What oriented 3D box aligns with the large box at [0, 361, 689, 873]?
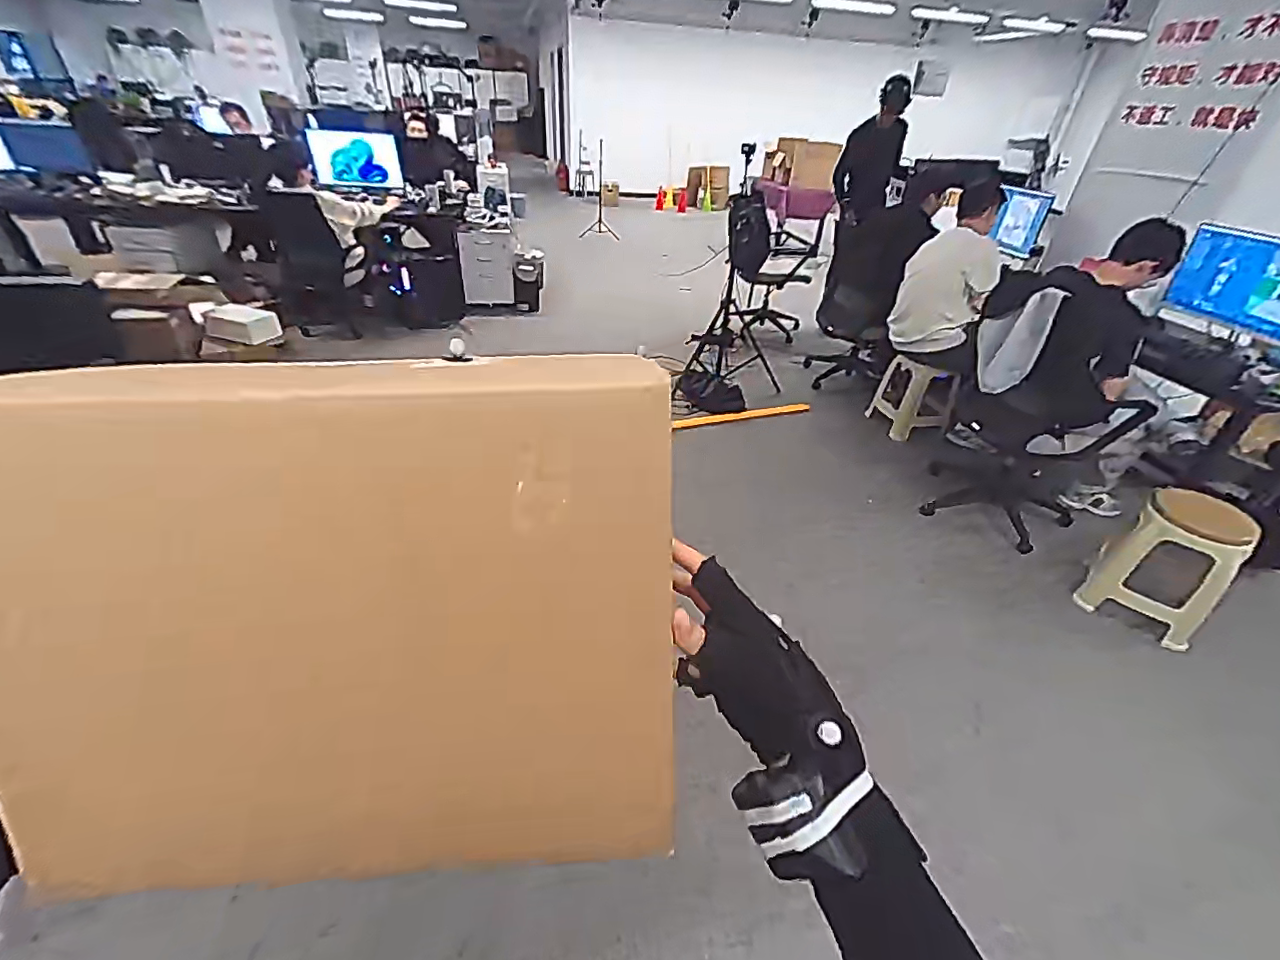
[{"bbox_3d":[-0.182,0.064,0.459,0.408,0.320,0.320,-1,16,-3],"label":"large box"}]
